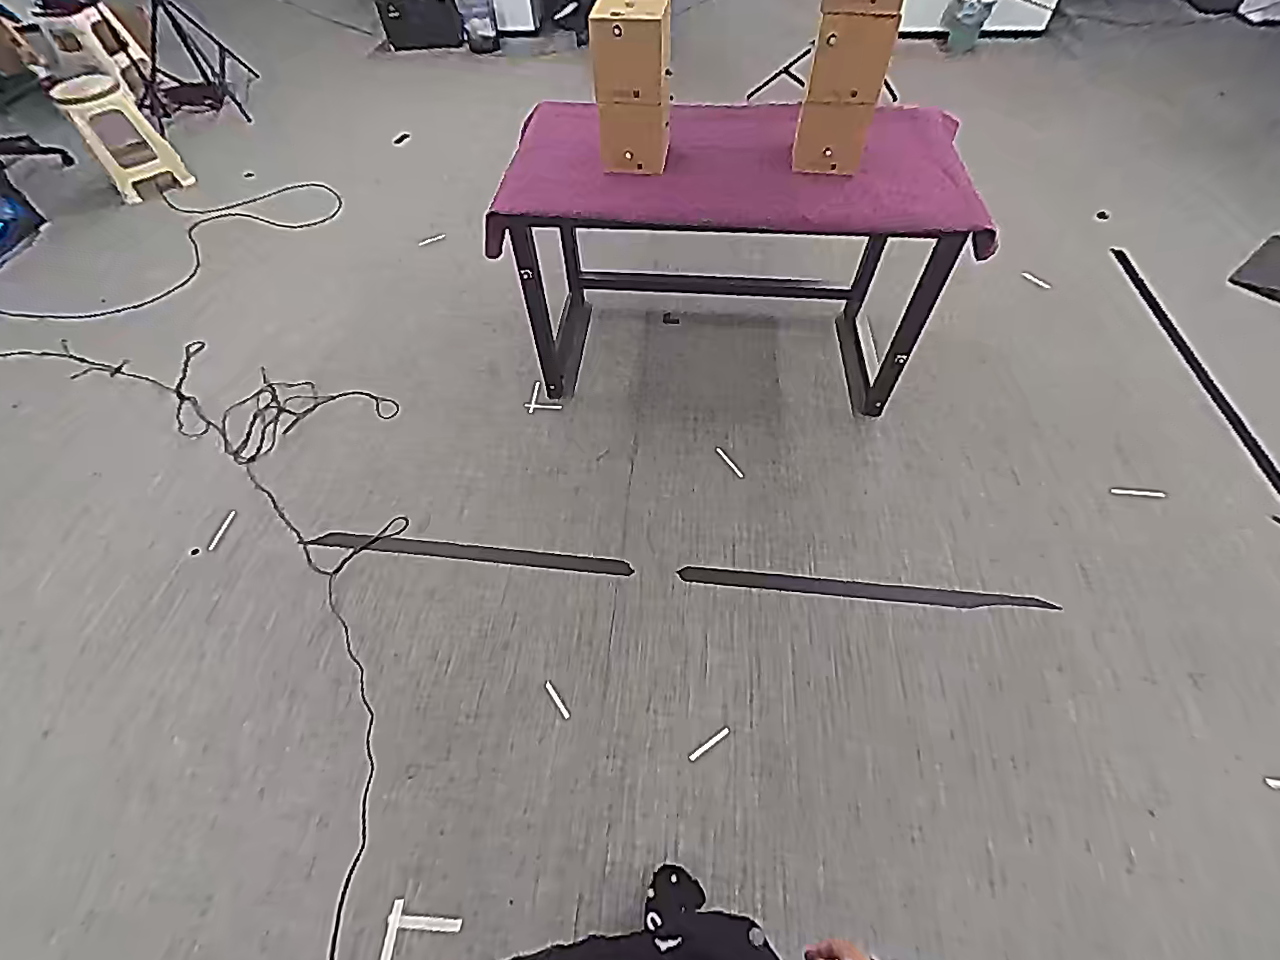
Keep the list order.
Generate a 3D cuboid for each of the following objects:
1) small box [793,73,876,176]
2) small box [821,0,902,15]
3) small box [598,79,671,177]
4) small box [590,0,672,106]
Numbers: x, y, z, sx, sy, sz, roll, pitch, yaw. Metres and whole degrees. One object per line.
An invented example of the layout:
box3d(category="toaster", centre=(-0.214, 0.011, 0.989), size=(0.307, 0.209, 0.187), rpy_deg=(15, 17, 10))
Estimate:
box3d(category="small box", centre=(0.496, -0.918, 1.396), size=(0.168, 0.176, 0.179), rpy_deg=(8, 56, 9))
box3d(category="small box", centre=(0.480, -1.099, 1.124), size=(0.168, 0.176, 0.179), rpy_deg=(10, 55, 8))
box3d(category="small box", centre=(-0.011, -0.931, 1.424), size=(0.168, 0.176, 0.179), rpy_deg=(5, 57, 6))
box3d(category="small box", centre=(-0.017, -1.024, 1.289), size=(0.168, 0.176, 0.179), rpy_deg=(6, 55, 6))
